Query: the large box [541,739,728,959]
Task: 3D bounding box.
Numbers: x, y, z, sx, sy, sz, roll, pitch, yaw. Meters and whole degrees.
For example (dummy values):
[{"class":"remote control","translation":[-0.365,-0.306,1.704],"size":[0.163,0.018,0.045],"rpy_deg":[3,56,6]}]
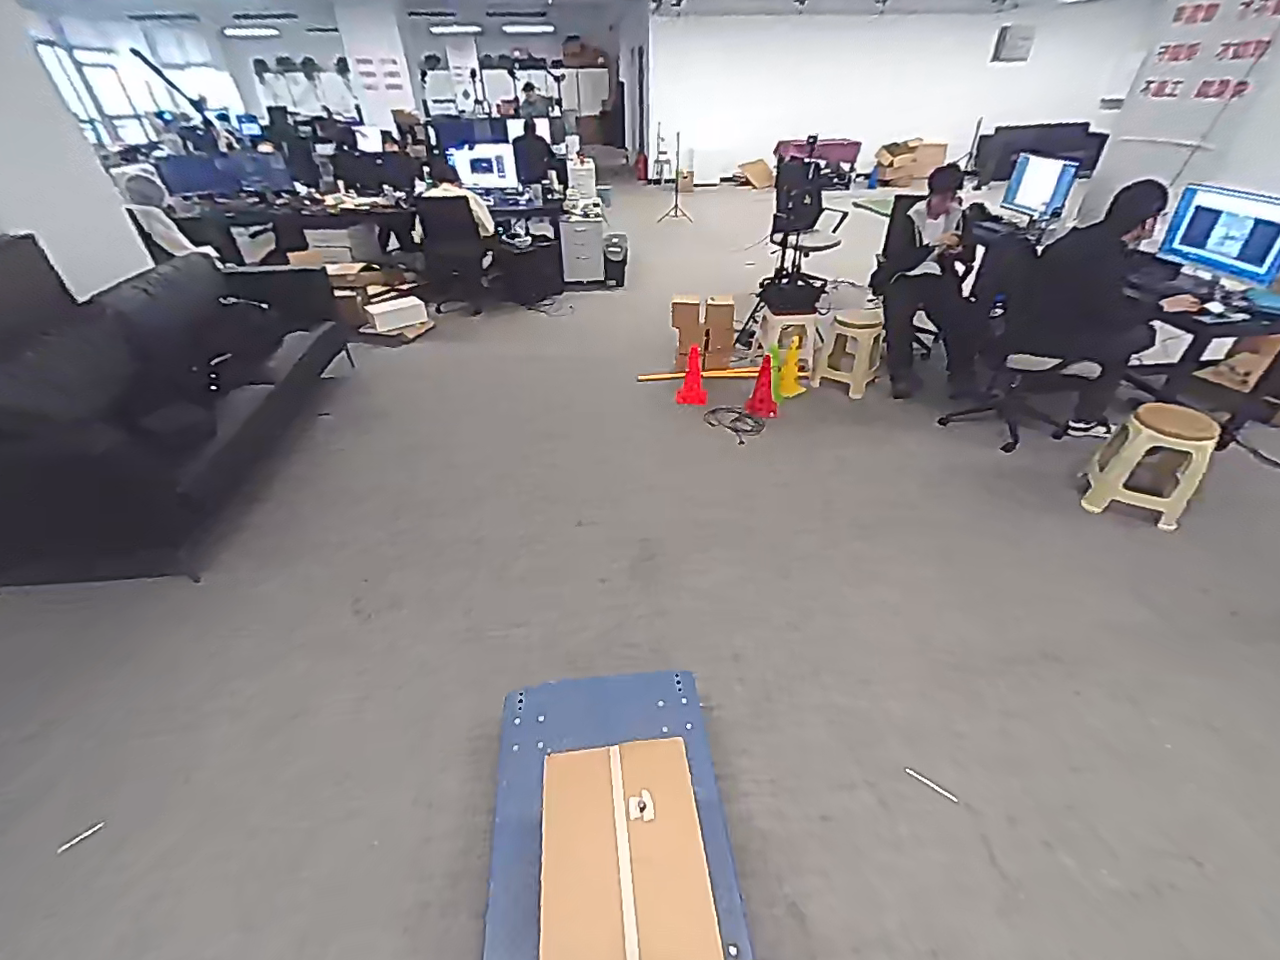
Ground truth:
[{"class":"large box","translation":[-0.026,0.826,1.118],"size":[0.320,0.320,0.408],"rpy_deg":[-5,36,-5]}]
